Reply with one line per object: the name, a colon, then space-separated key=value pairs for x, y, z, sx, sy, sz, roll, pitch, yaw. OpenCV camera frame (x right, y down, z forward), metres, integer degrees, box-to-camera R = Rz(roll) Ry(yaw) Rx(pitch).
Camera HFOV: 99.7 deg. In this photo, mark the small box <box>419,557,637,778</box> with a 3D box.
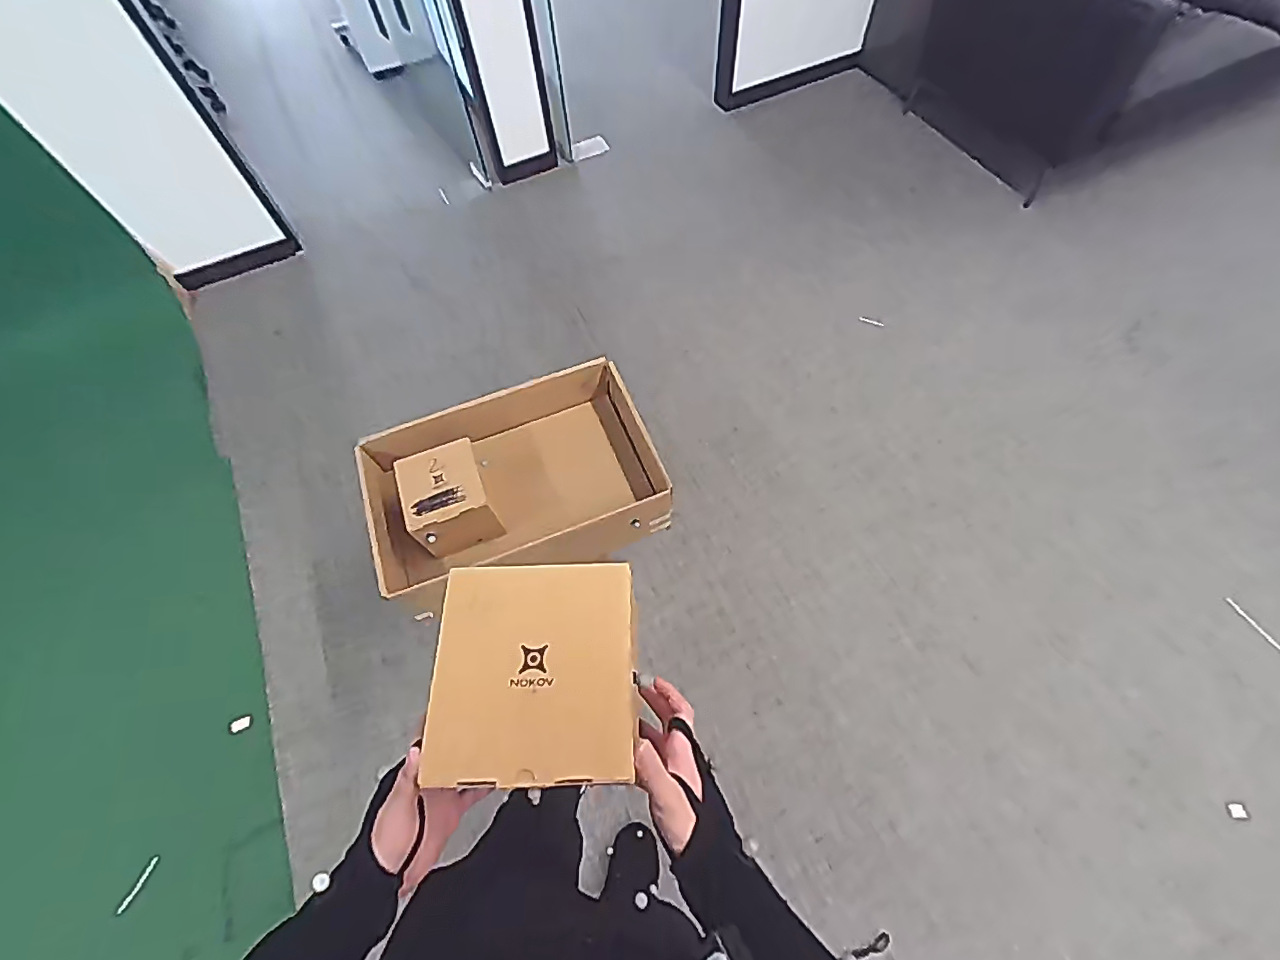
small box: x=-0.088 y=0.186 z=0.522 sx=0.168 sy=0.176 sz=0.179 roll=-2 pitch=63 yaw=0
